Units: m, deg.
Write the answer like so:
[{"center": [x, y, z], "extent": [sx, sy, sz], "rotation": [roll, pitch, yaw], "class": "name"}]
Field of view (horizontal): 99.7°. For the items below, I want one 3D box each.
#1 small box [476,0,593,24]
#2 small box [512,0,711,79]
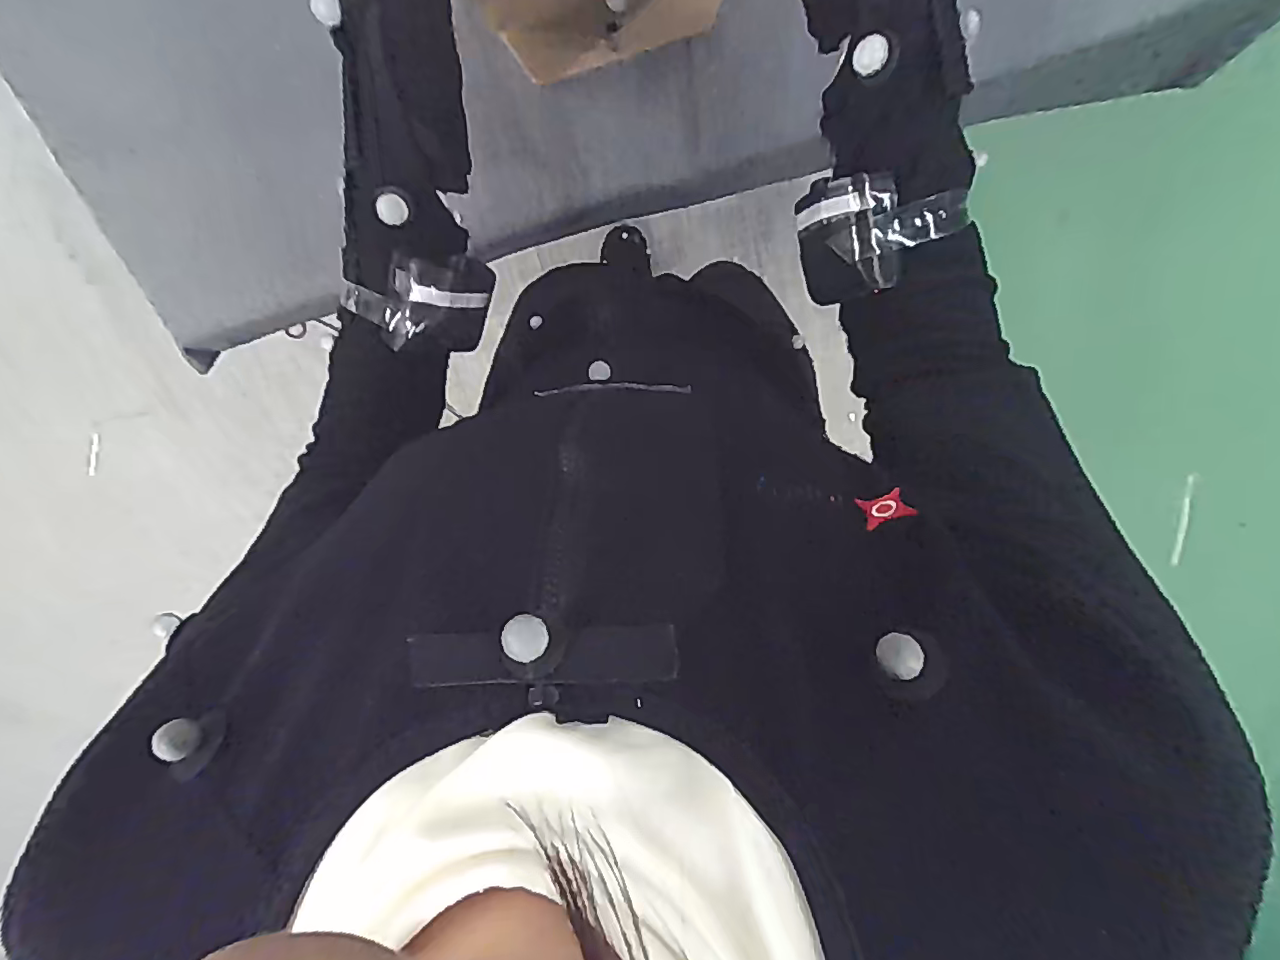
[{"center": [-0.036, -0.369, 0.261], "extent": [0.179, 0.176, 0.168], "rotation": [-13, 113, 5], "class": "small box"}, {"center": [-0.035, -0.443, 0.407], "extent": [0.179, 0.176, 0.168], "rotation": [-18, 114, 7], "class": "small box"}]
